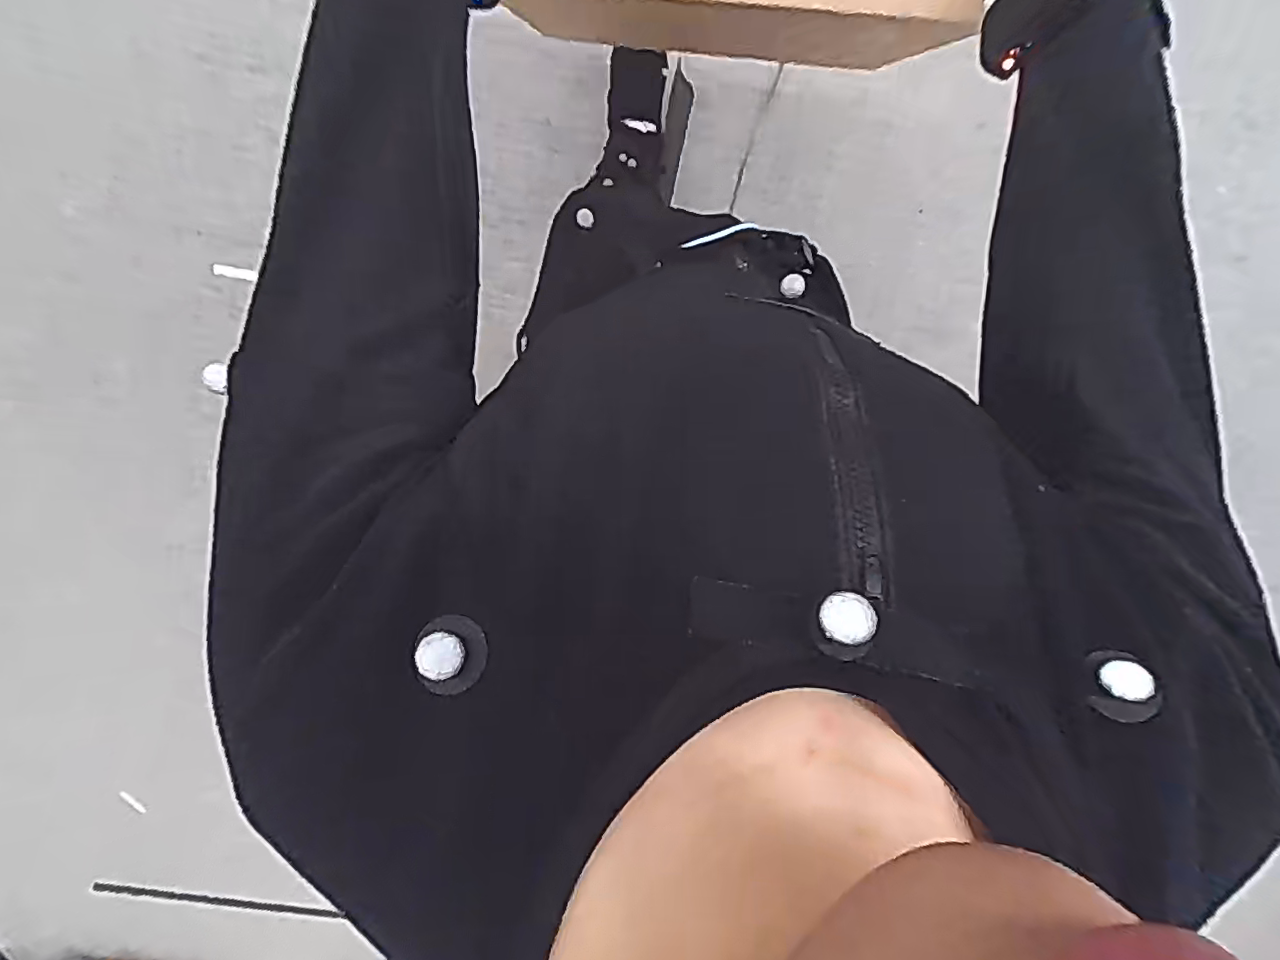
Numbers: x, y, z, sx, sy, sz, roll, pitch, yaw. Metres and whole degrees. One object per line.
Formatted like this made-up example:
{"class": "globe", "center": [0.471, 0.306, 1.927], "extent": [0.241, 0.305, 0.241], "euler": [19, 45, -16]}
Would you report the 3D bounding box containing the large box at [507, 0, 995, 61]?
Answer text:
{"class": "large box", "center": [0.085, -0.575, 0.457], "extent": [0.408, 0.320, 0.320], "euler": [5, 124, -1]}
